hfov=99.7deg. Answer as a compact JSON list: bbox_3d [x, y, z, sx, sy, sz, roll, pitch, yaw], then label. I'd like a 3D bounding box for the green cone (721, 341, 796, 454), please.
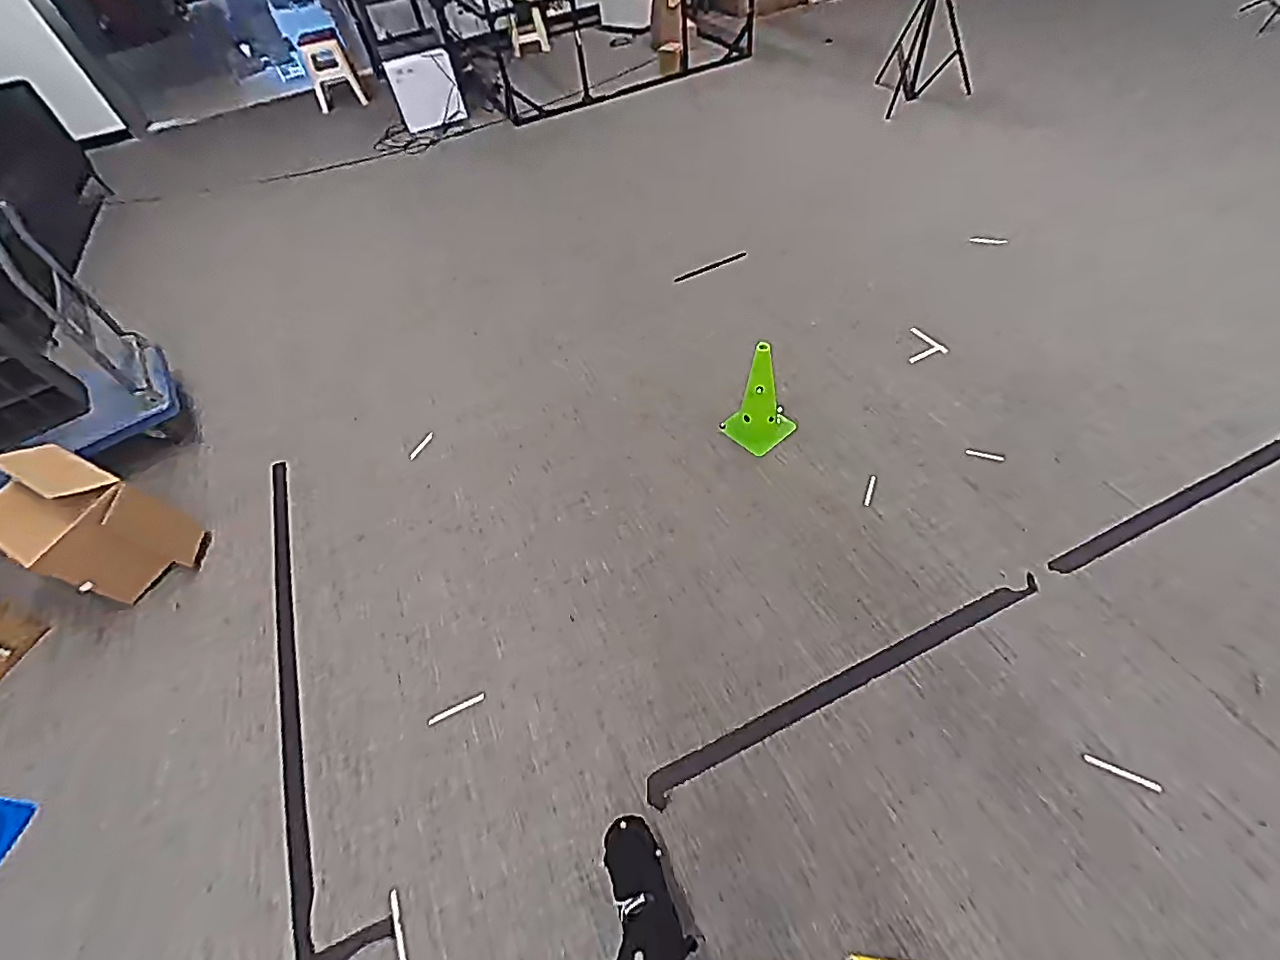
[{"bbox_3d":[0.399,-0.291,1.761,0.202,0.368,0.200,-36,56,-21],"label":"green cone"}]
